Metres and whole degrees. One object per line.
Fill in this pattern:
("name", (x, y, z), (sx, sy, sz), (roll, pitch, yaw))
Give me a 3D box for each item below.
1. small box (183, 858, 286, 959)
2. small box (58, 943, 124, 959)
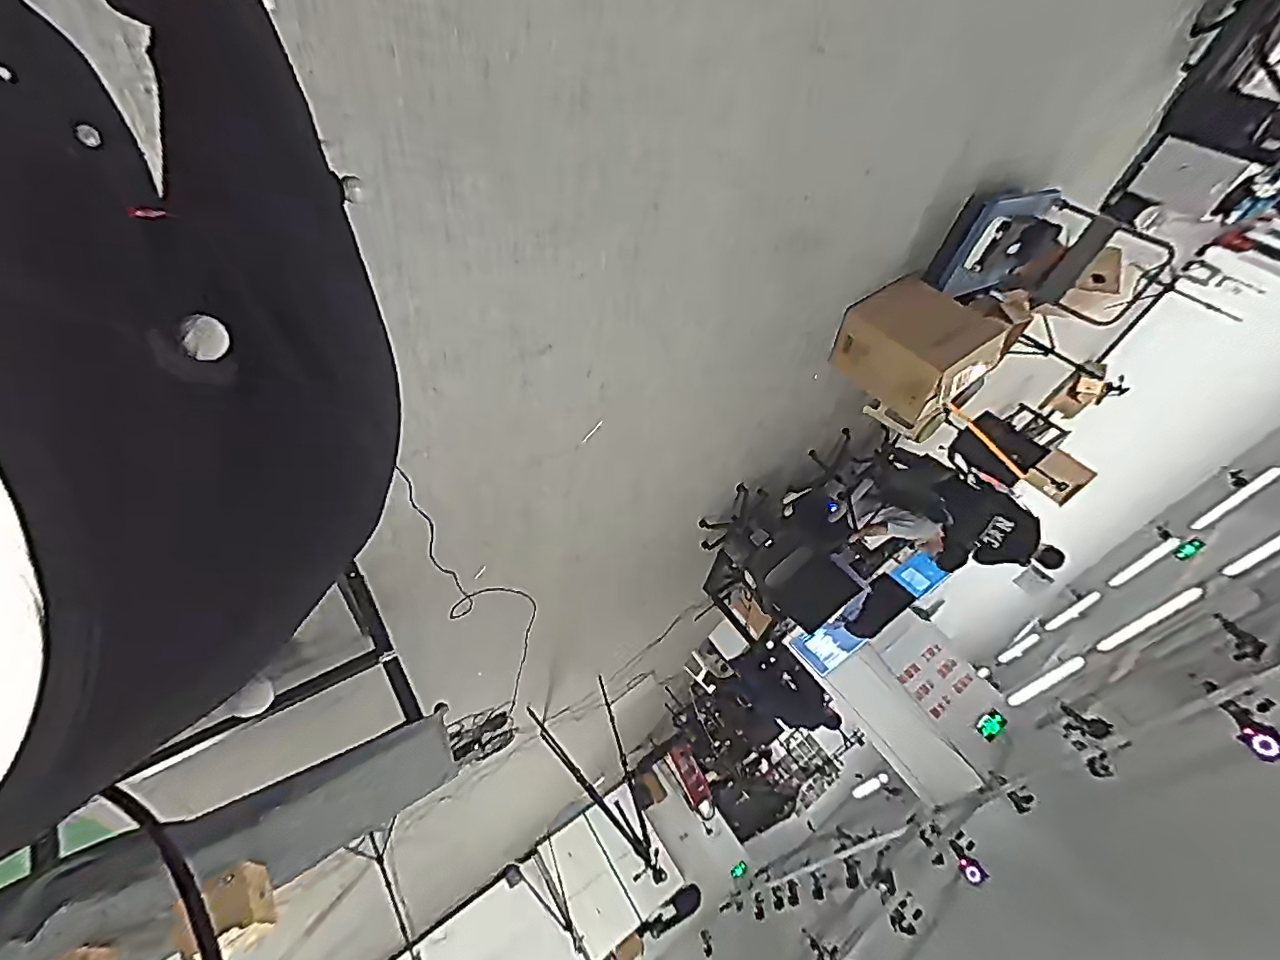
("small box", (-1.138, 1.202, 1.517), (0.168, 0.176, 0.179), (-25, 148, -26))
("small box", (-1.388, 1.263, 1.304), (0.168, 0.176, 0.179), (-24, 148, -27))
